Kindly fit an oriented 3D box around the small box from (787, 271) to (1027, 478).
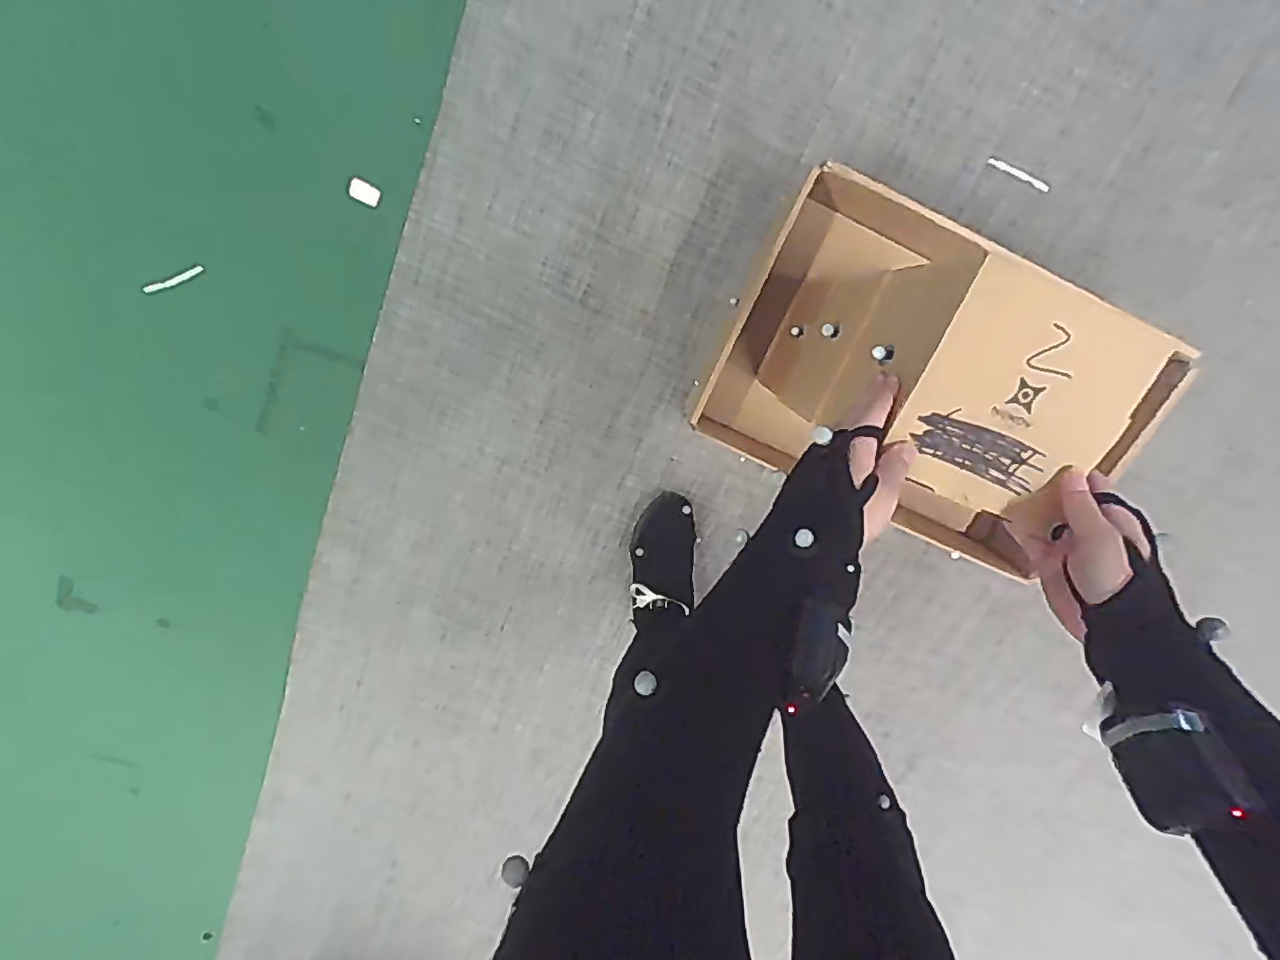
[{"bbox_3d":[0.299,-0.130,0.653,0.168,0.176,0.179,21,106,-5],"label":"small box"}]
